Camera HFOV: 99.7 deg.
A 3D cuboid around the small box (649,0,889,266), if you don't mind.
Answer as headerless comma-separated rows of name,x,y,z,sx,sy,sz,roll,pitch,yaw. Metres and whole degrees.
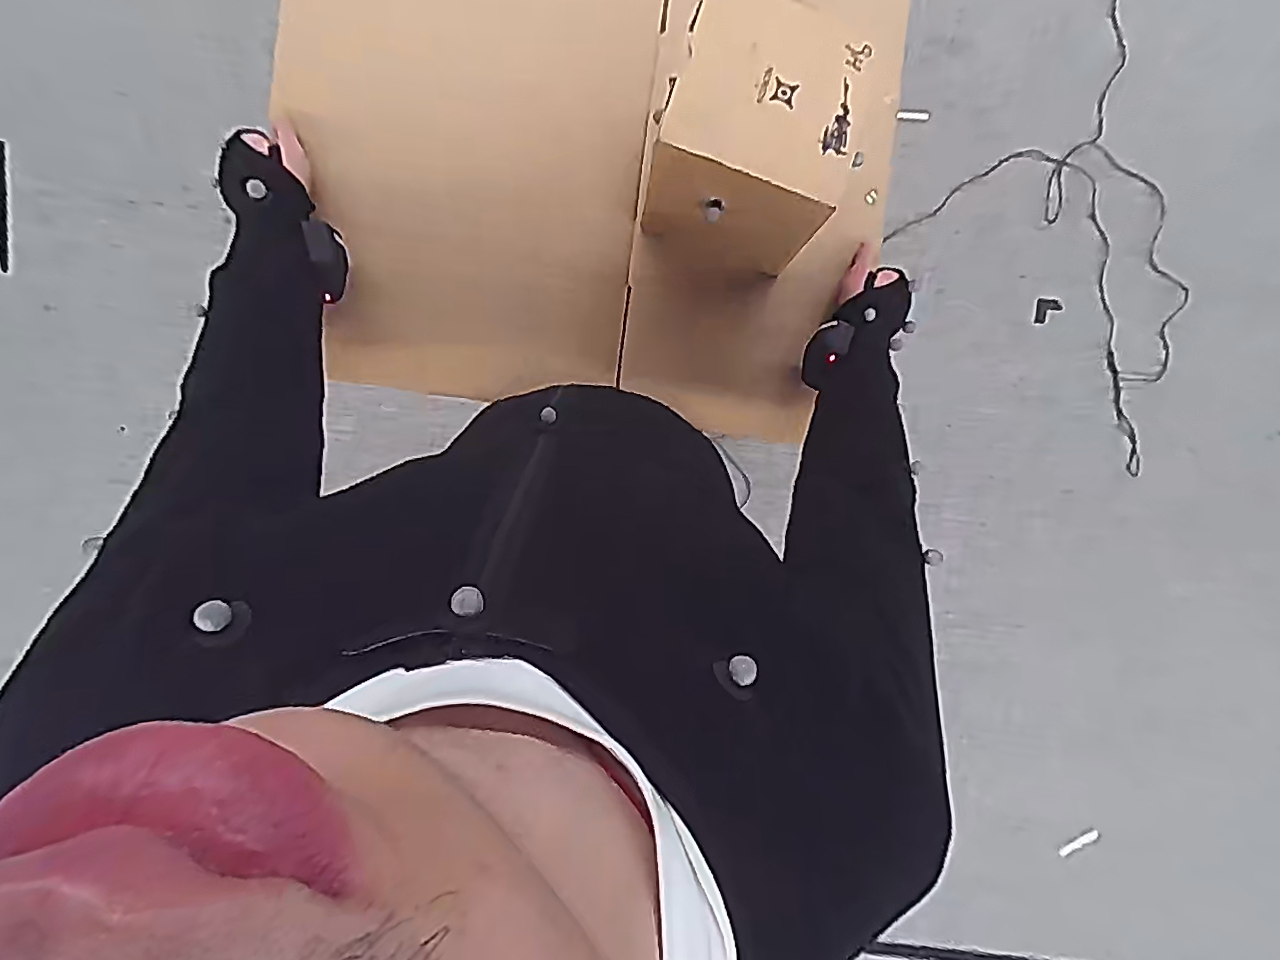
small box,0.116,-0.352,0.567,0.179,0.176,0.168,18,89,-4
